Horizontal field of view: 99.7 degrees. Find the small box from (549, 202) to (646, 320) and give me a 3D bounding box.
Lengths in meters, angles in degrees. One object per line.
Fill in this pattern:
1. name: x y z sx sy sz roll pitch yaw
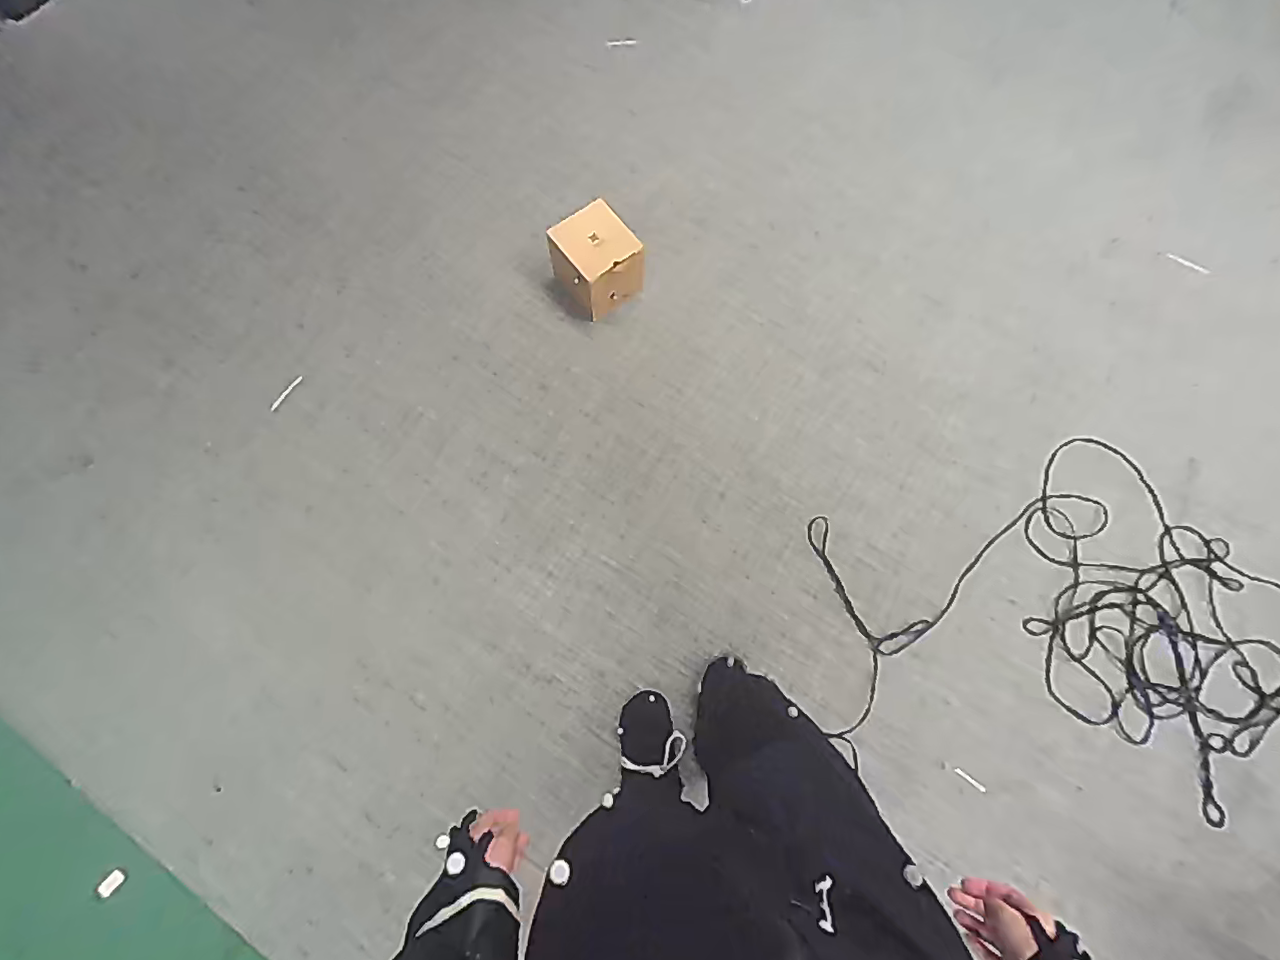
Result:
1. small box: -0.104 -0.539 1.348 0.168 0.176 0.179 -37 79 -11
